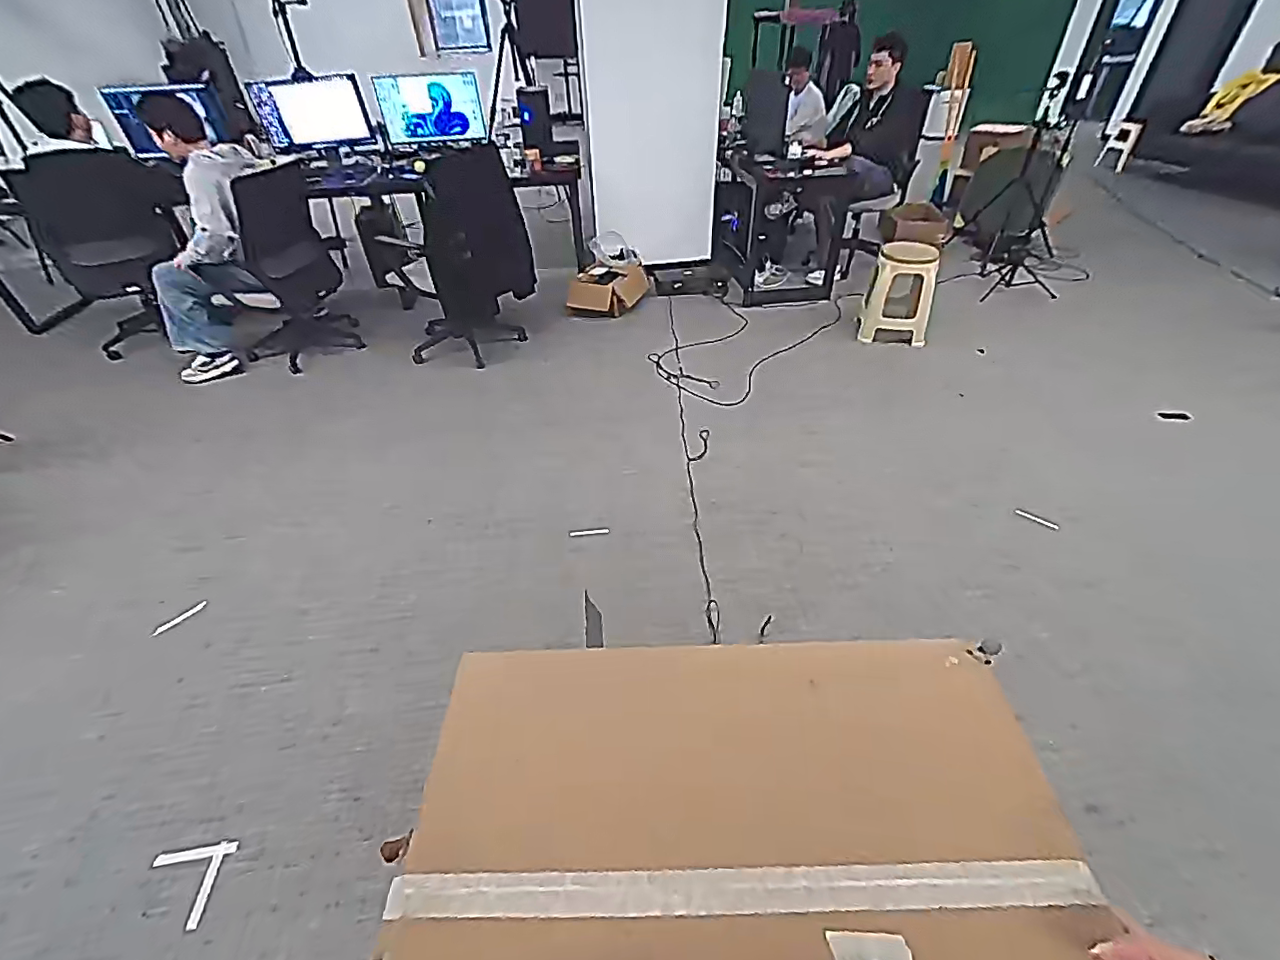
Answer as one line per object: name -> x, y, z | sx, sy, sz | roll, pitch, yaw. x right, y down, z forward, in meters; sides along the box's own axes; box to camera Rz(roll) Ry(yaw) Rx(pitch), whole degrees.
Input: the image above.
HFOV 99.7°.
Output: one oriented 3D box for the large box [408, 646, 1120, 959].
large box -> 0.069, 0.355, 0.427 | 0.408, 0.320, 0.320 | -2, 45, 1
